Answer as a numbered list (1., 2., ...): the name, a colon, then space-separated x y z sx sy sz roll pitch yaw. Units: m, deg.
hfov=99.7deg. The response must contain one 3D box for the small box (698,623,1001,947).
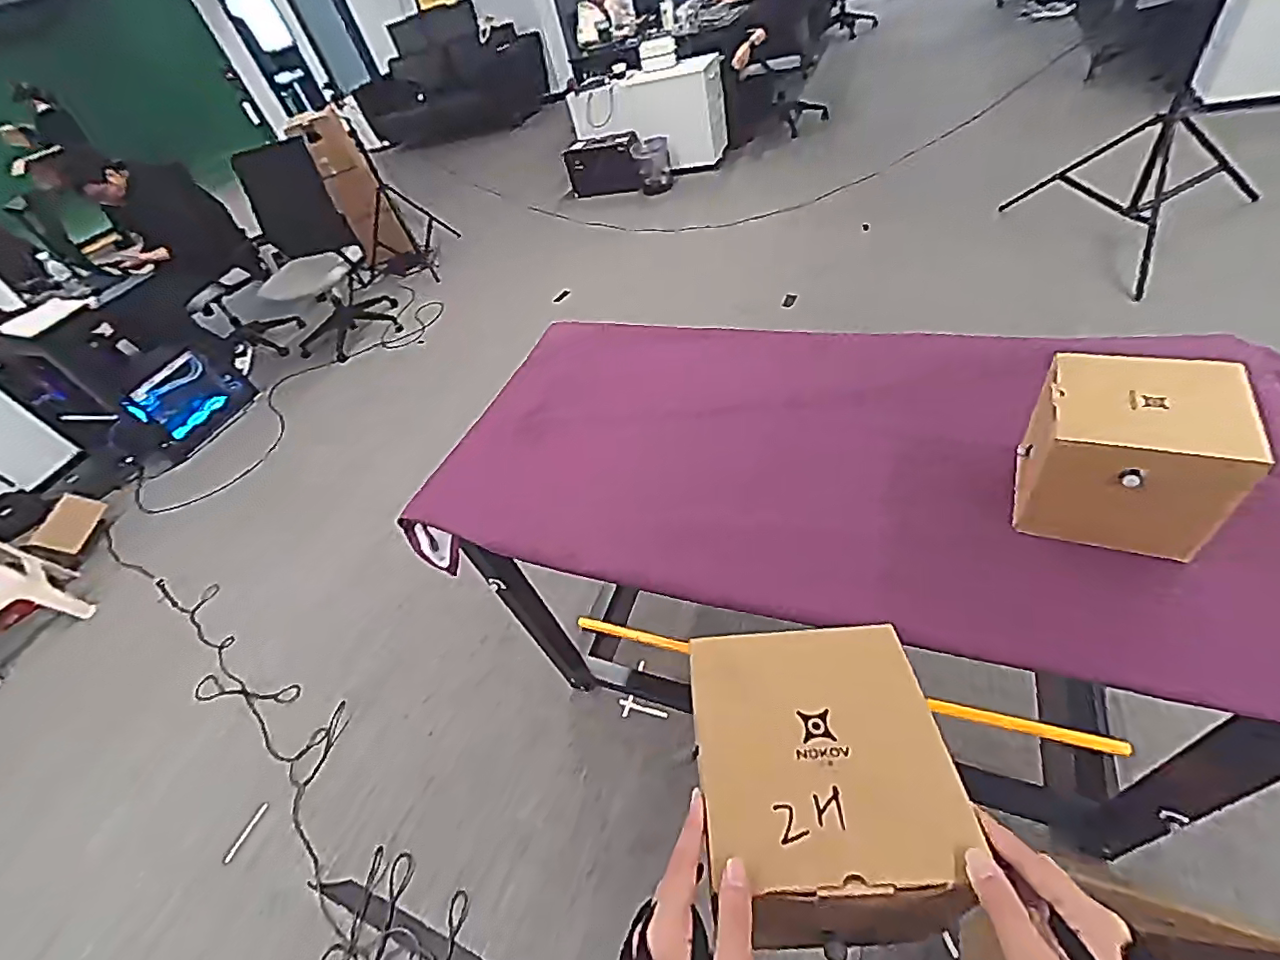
1. small box: 0.134 0.238 0.428 0.168 0.176 0.179 -5 40 4

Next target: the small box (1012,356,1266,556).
1. small box: 0.581 -0.029 0.659 0.179 0.176 0.168 11 51 28
